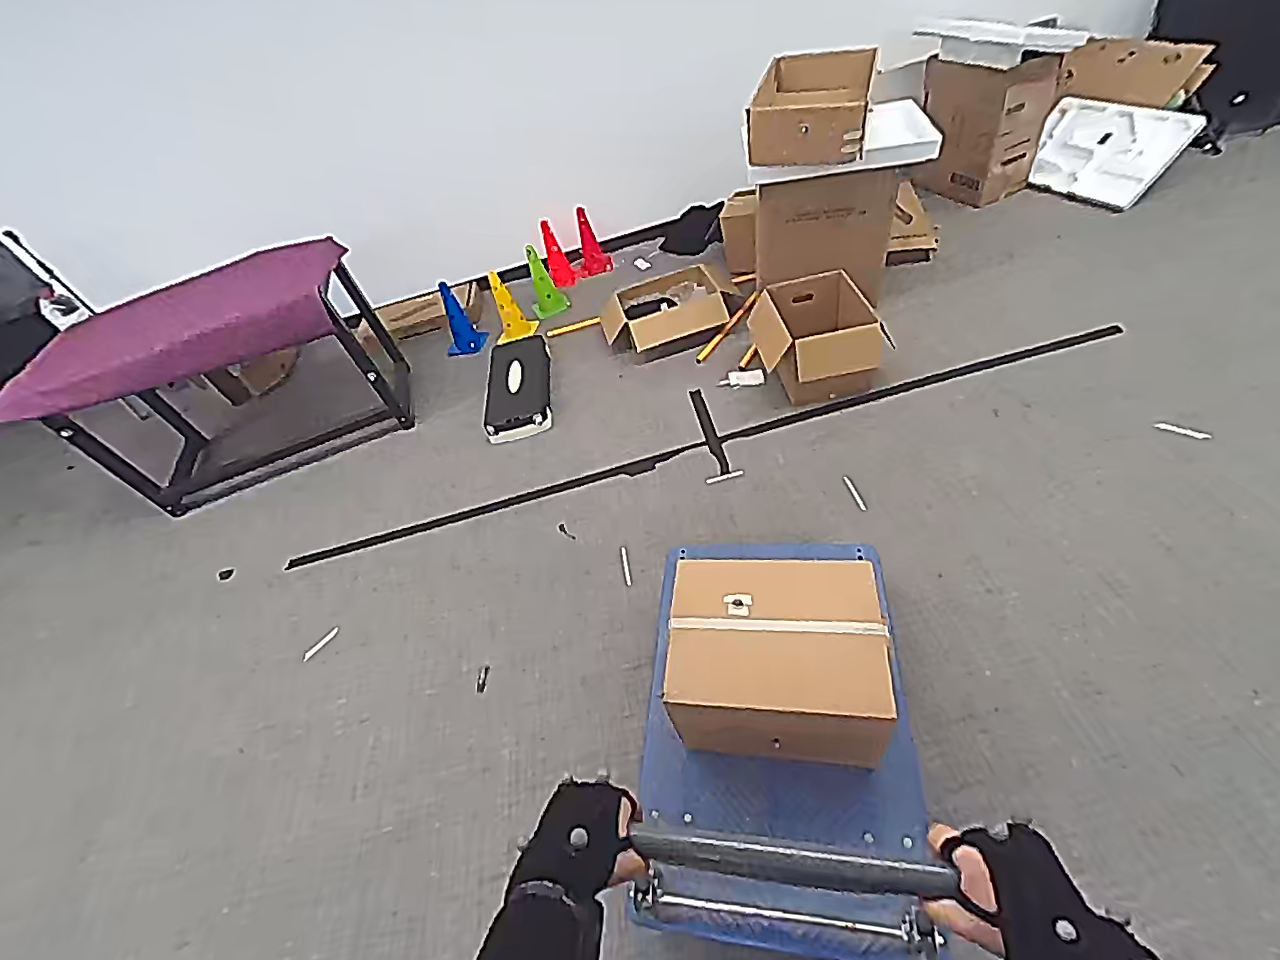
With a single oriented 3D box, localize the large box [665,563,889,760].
[{"bbox_3d":[0.291,0.397,1.180,0.408,0.320,0.320,-3,47,15],"label":"large box"}]
